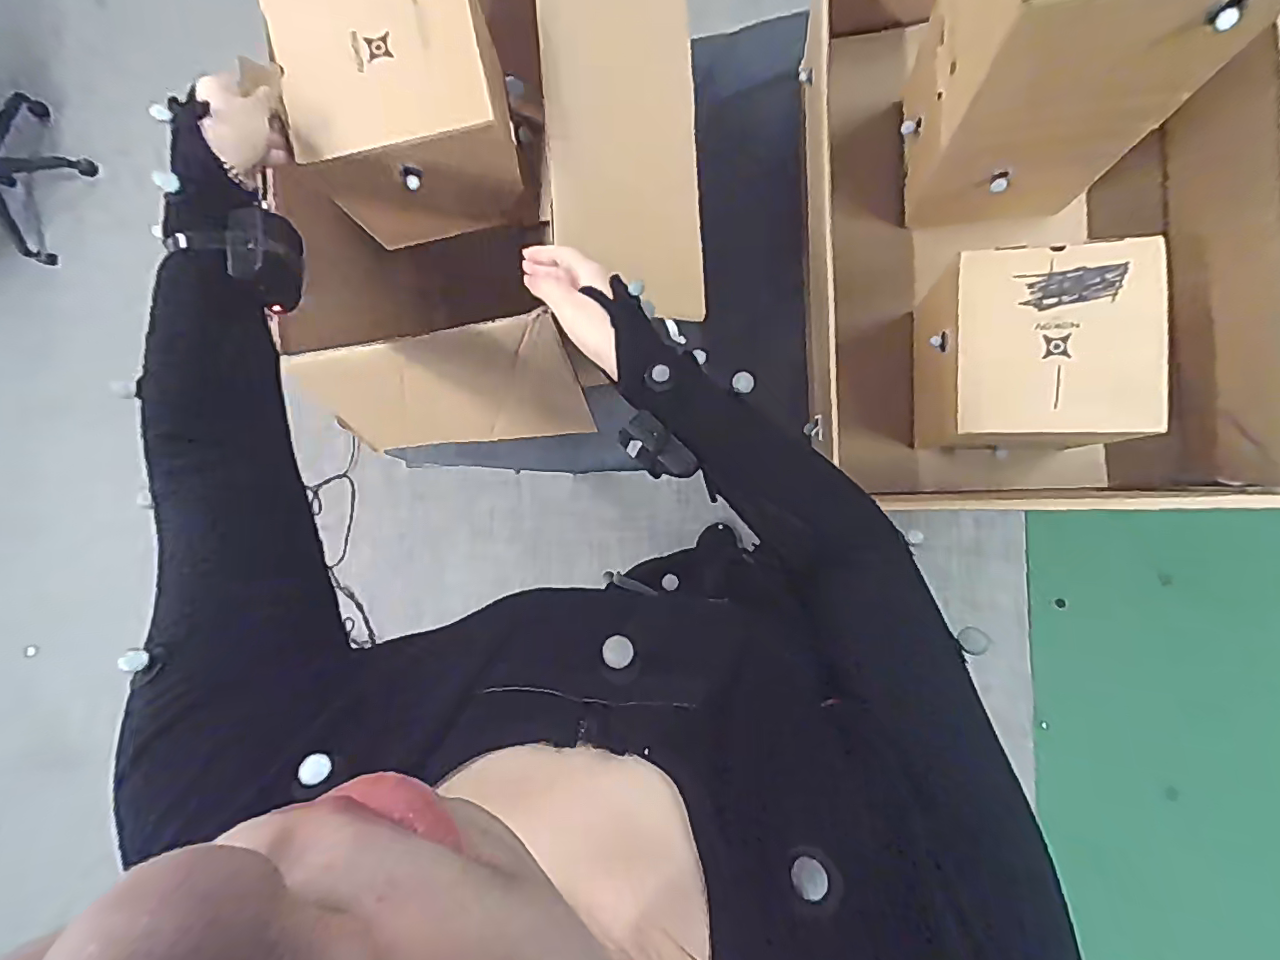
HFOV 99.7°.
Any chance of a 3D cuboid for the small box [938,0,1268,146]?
[{"bbox_3d":[0.352,-0.394,0.423,0.179,0.176,0.168,1,90,12],"label":"small box"}]
